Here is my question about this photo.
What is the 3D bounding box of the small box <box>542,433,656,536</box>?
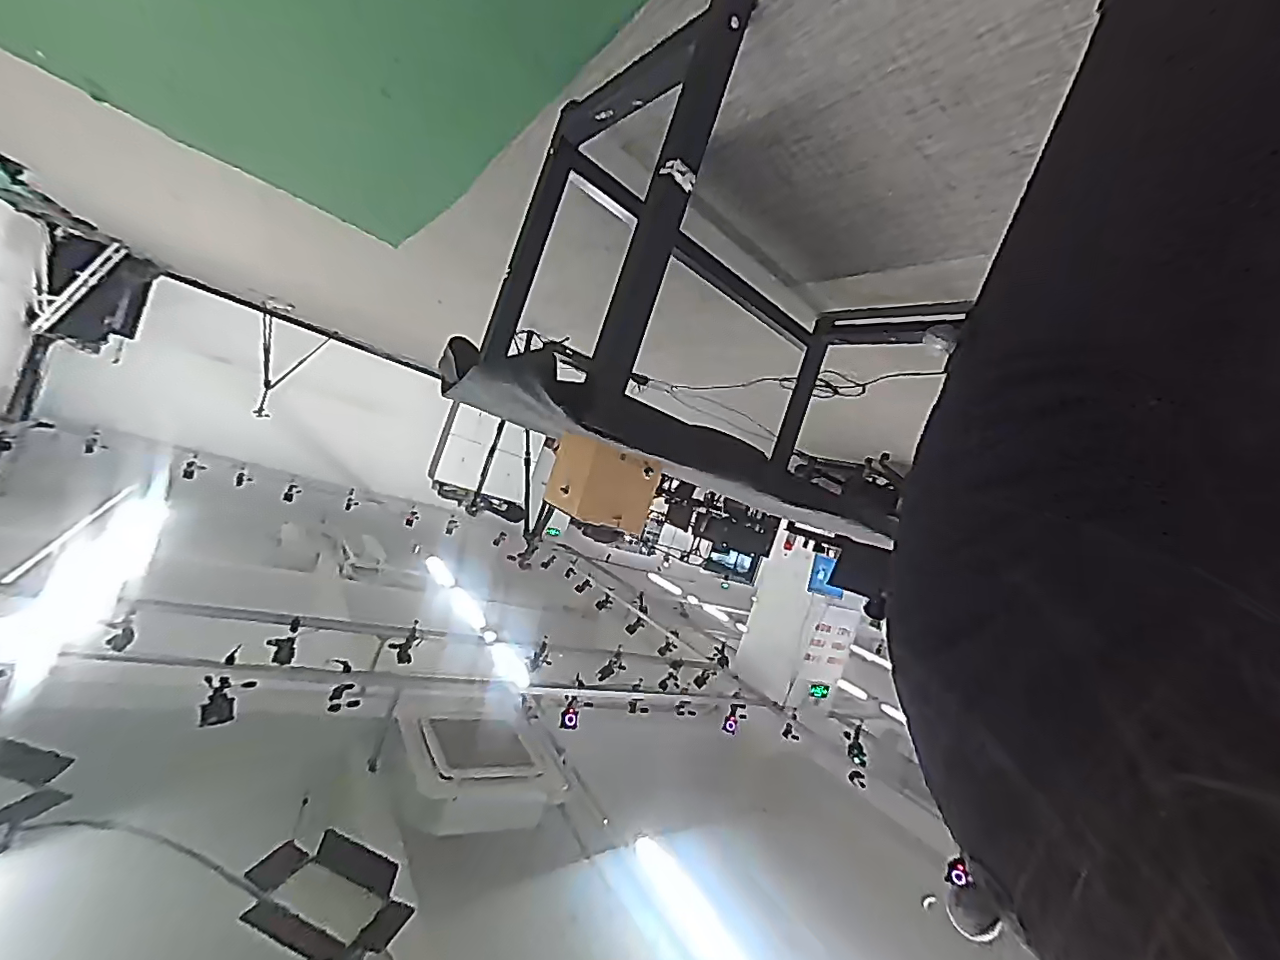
[{"bbox_3d":[-0.084,0.005,1.161,0.168,0.176,0.179,19,180,-34],"label":"small box"}]
